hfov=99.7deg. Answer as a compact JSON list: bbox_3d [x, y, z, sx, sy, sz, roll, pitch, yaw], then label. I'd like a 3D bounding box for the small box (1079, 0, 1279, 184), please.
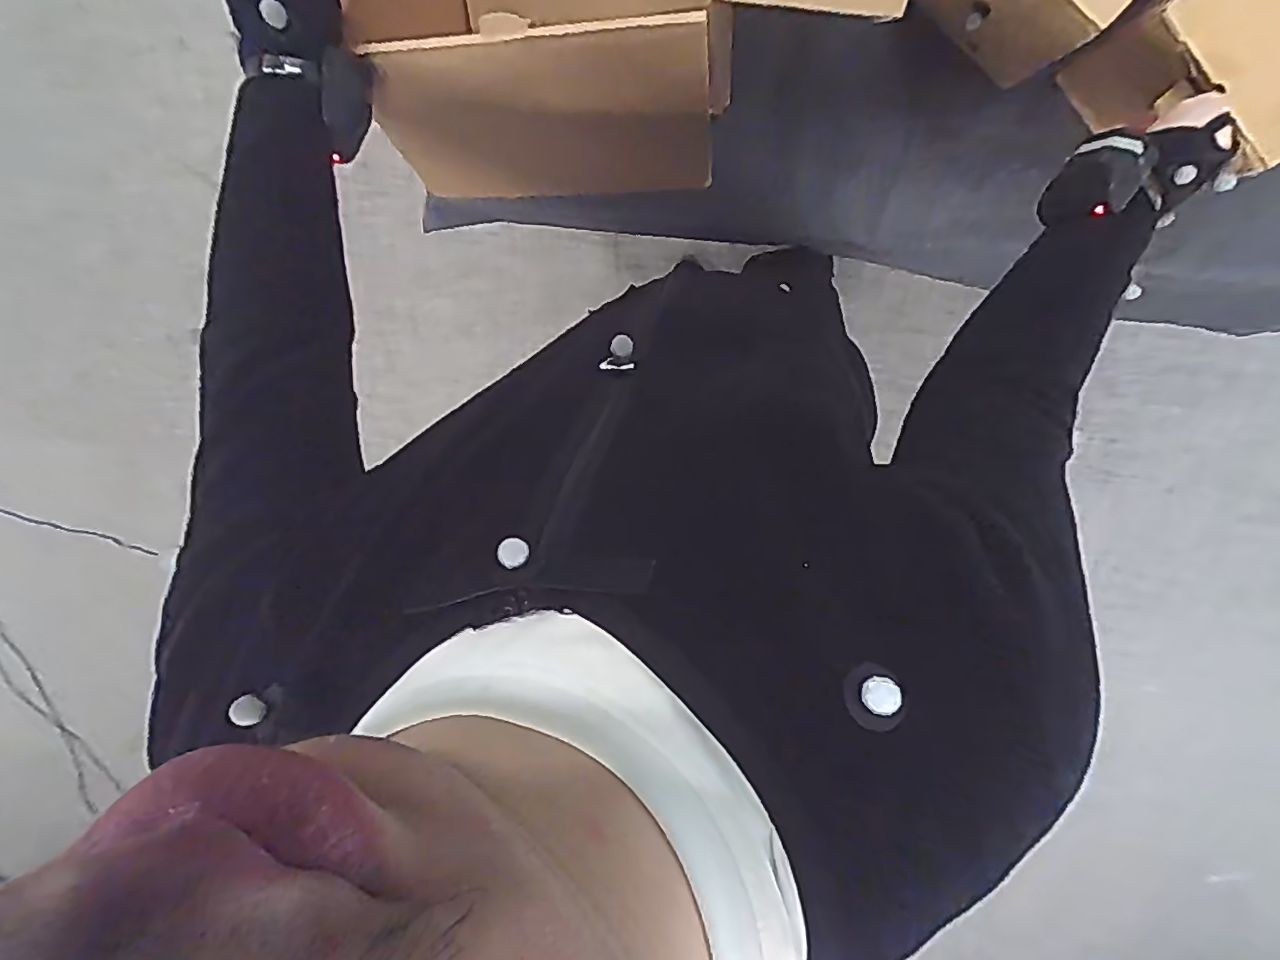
[{"bbox_3d":[0.548,-0.399,0.482,0.168,0.176,0.179,44,113,-9],"label":"small box"}]
